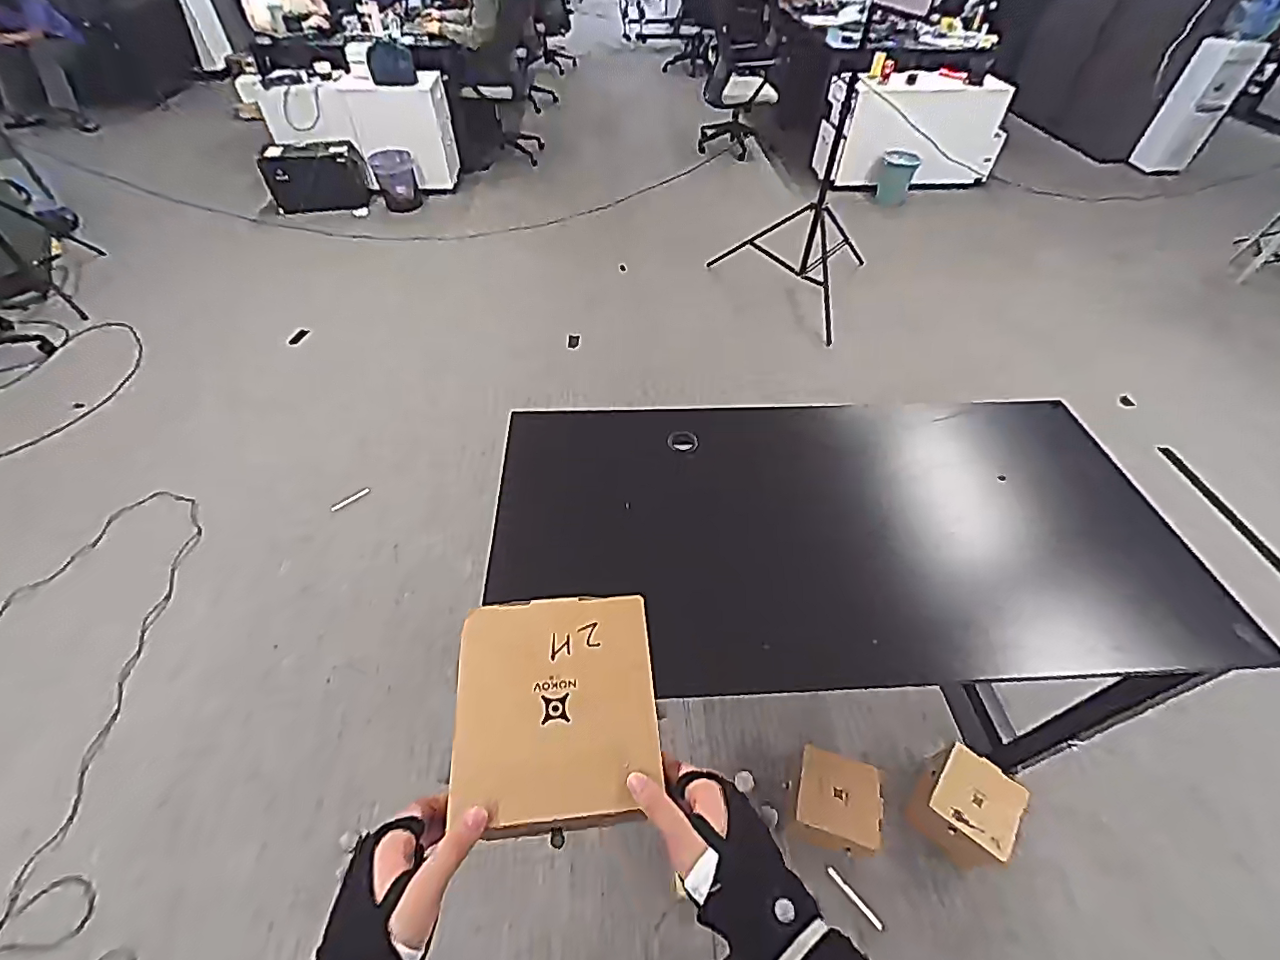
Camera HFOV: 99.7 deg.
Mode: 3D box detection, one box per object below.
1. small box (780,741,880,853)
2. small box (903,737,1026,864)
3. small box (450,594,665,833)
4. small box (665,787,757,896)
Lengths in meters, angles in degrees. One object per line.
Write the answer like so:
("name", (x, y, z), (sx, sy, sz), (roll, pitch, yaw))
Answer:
("small box", (0.435, 0.736, 1.248), (0.179, 0.176, 0.168), (13, 49, 11))
("small box", (0.738, 0.741, 1.247), (0.168, 0.176, 0.179), (33, 56, 25))
("small box", (-0.073, 0.227, 0.517), (0.168, 0.176, 0.179), (-3, 55, -7))
("small box", (0.146, 0.796, 1.188), (0.168, 0.176, 0.179), (-3, 50, -3))
